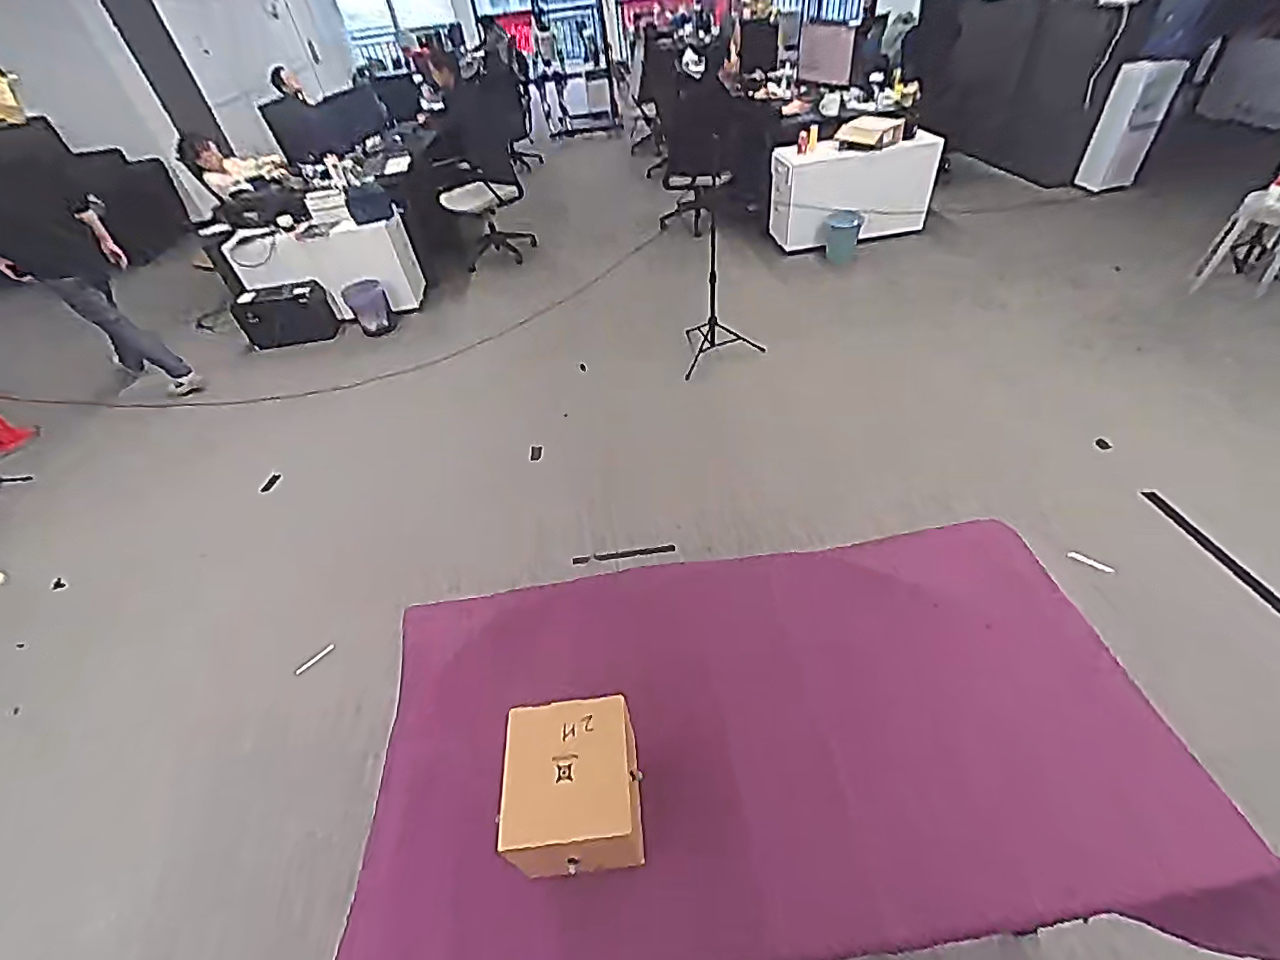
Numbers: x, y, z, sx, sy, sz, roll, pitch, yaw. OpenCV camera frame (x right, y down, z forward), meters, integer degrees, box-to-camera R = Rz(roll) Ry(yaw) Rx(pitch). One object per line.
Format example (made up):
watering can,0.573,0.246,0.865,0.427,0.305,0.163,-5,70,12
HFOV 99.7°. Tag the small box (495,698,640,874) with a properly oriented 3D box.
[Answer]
small box,-0.092,0.435,0.763,0.168,0.176,0.179,-7,44,0
